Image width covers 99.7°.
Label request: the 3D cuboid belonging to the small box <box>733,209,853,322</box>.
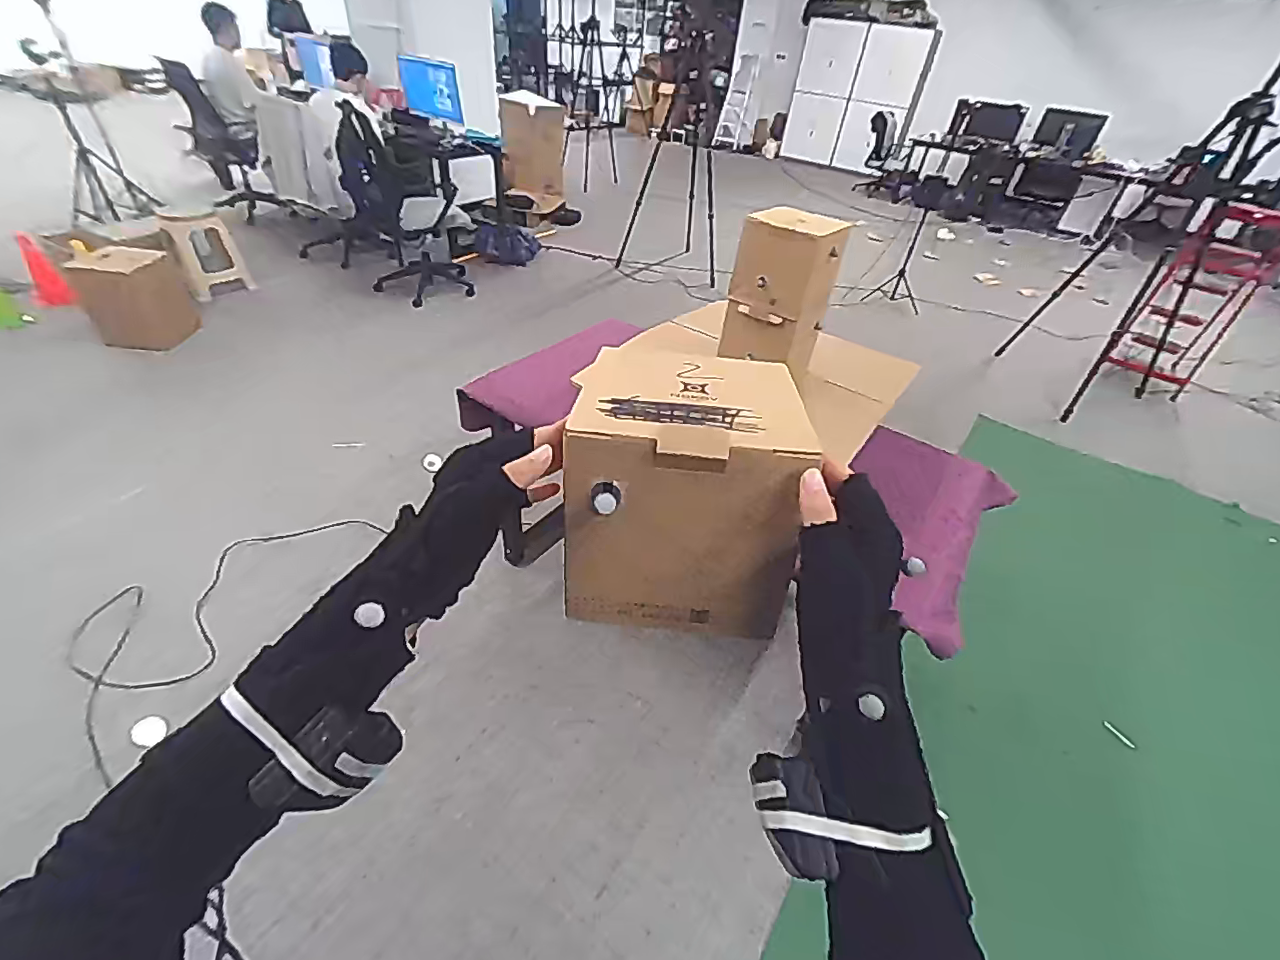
[{"bbox_3d":[0.316,-0.454,1.141,0.168,0.176,0.179,29,43,25],"label":"small box"}]

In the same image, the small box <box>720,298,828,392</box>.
[{"bbox_3d":[0.301,-0.327,1.242,0.168,0.176,0.179,29,43,25],"label":"small box"}]
